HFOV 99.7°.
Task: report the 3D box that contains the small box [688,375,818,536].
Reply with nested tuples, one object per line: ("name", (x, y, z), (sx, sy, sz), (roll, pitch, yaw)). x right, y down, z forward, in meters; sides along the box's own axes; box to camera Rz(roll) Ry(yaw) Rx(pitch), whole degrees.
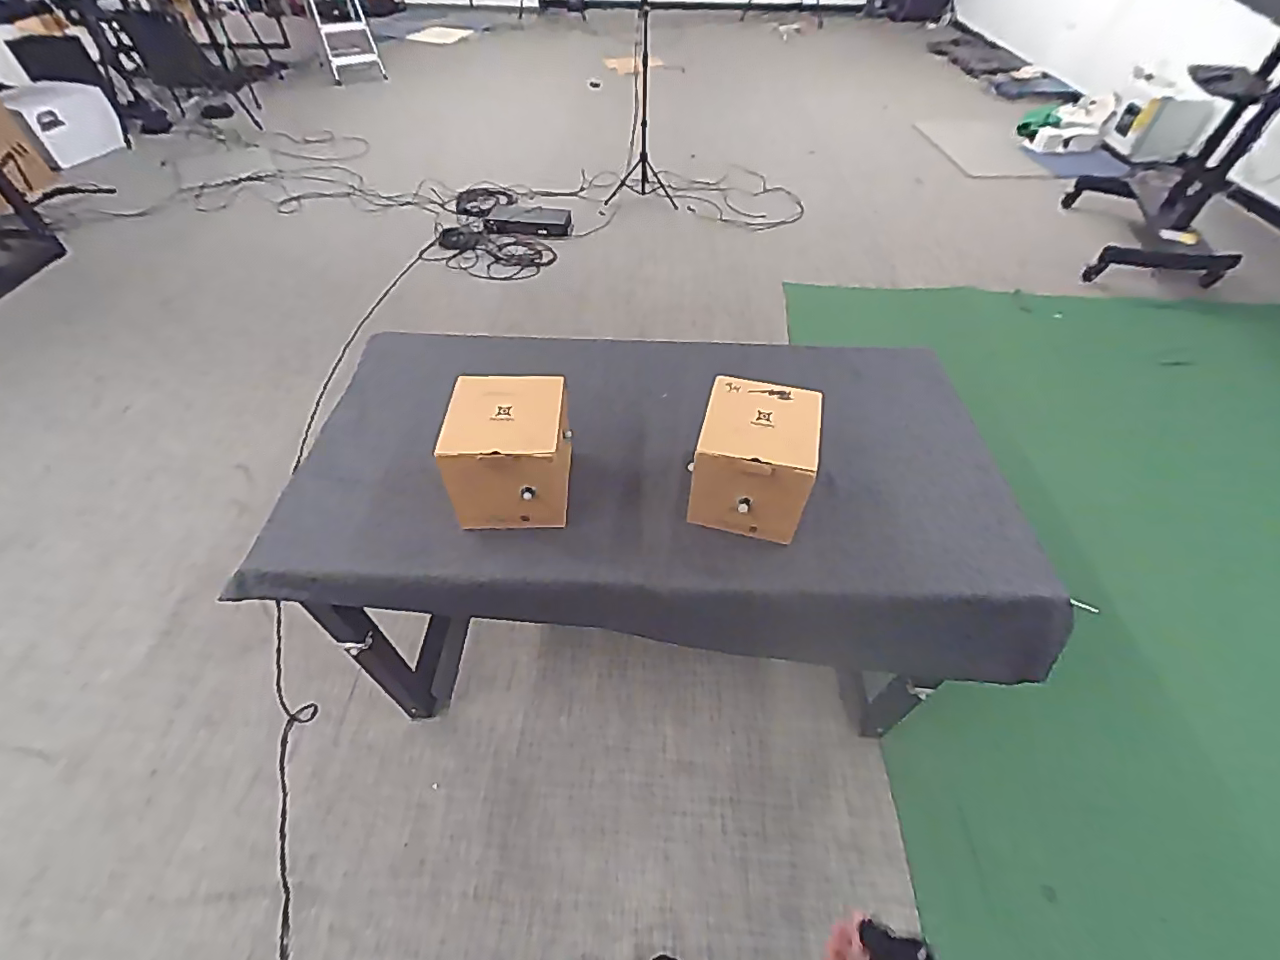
("small box", (0.173, -0.036, 0.854), (0.168, 0.176, 0.179), (12, 50, 9))

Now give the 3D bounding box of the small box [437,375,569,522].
("small box", (-0.202, -0.047, 0.854), (0.168, 0.176, 0.179), (0, 47, -4))
